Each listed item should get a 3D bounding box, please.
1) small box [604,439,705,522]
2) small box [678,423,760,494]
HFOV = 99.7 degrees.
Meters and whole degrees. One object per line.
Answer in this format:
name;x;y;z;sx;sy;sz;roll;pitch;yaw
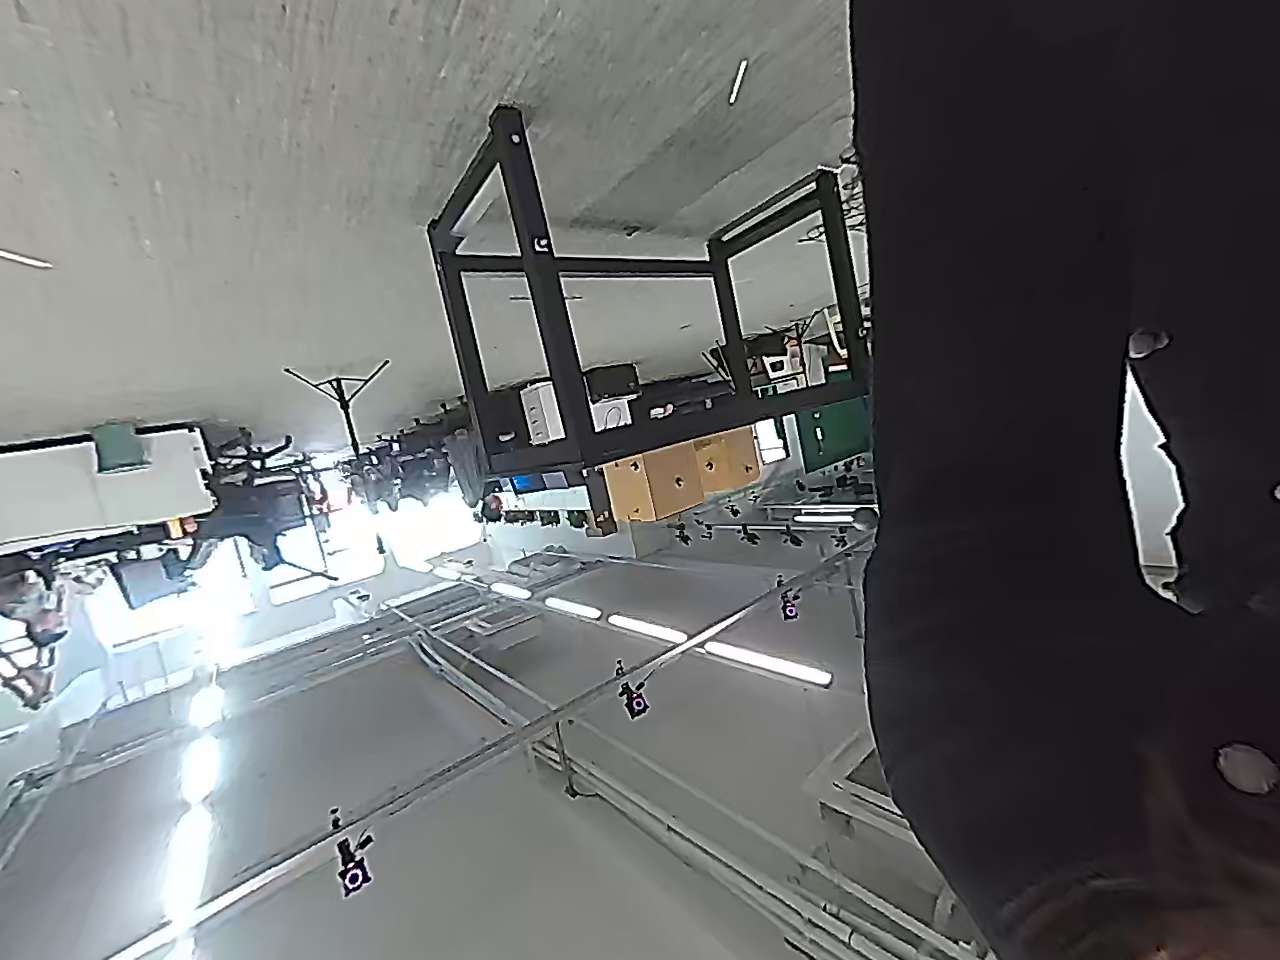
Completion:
small box;0.032;0.002;1.362;0.179;0.176;0.168;-18;-171;-39
small box;0.222;-0.062;1.558;0.168;0.176;0.179;-7;-172;40
